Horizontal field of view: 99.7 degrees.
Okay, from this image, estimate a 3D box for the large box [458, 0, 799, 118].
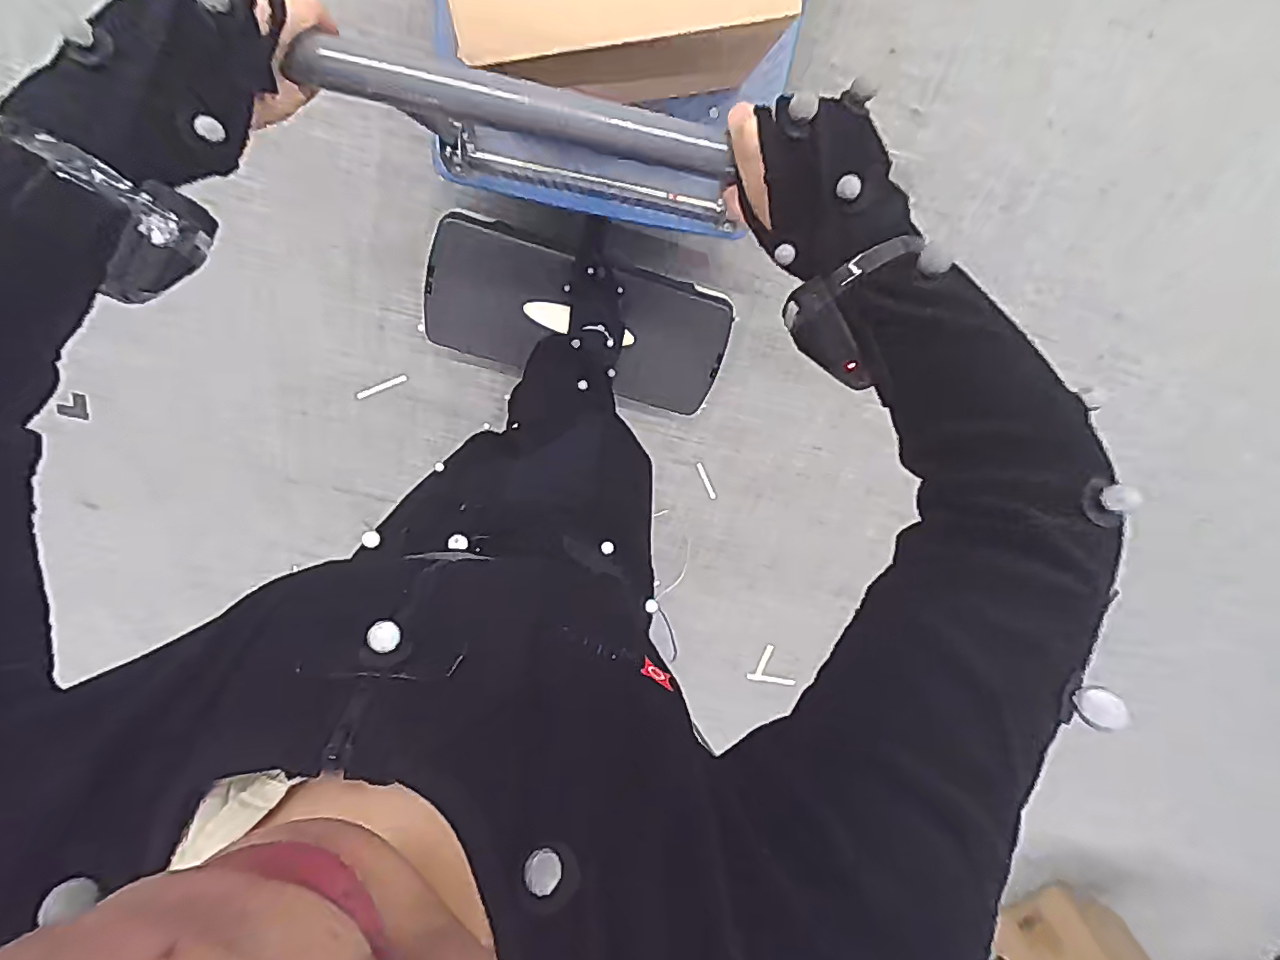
[{"bbox_3d":[-0.040,-0.720,0.715,0.408,0.320,0.320,-9,115,0],"label":"large box"}]
